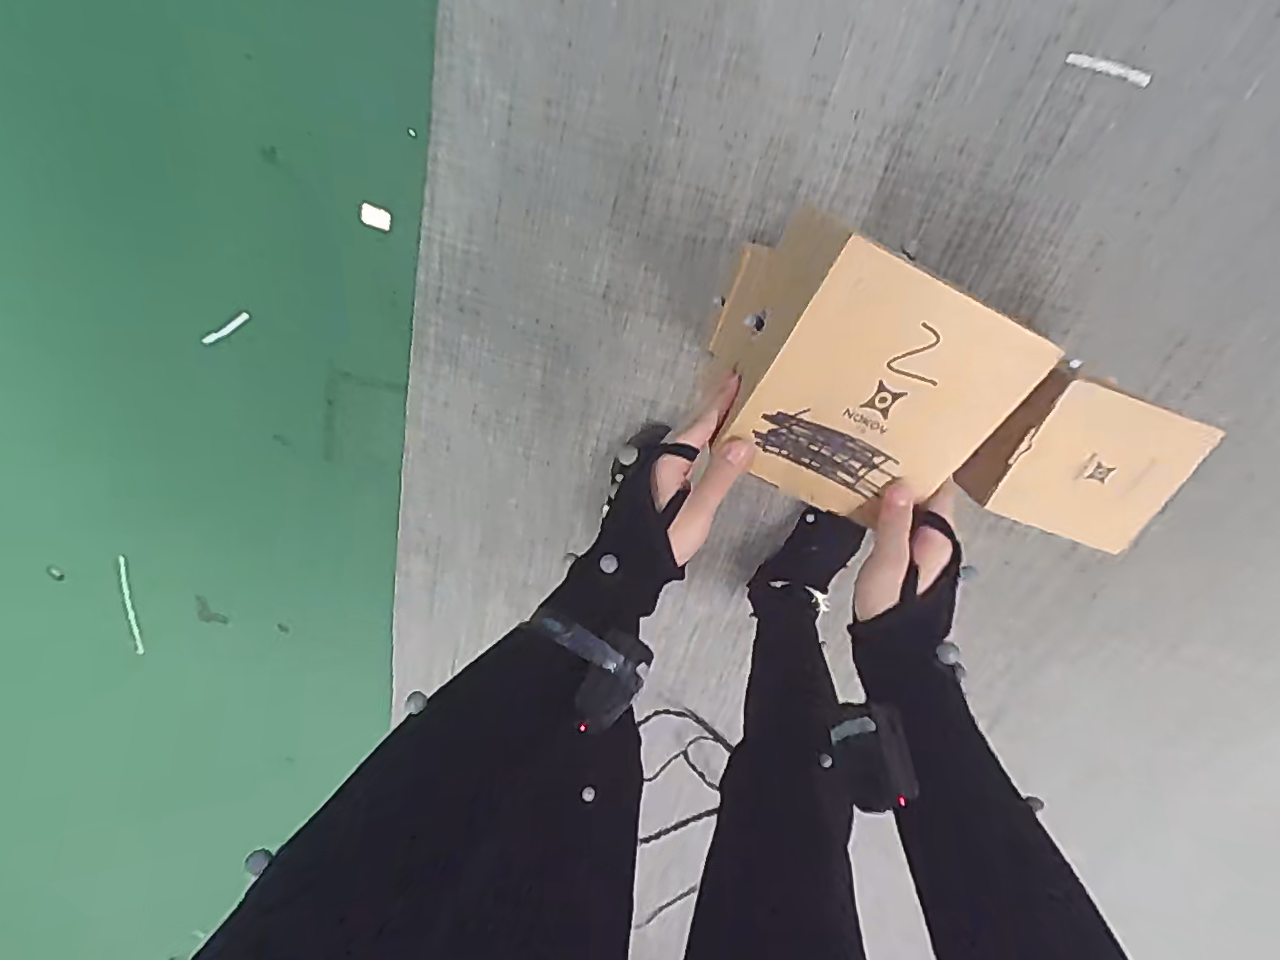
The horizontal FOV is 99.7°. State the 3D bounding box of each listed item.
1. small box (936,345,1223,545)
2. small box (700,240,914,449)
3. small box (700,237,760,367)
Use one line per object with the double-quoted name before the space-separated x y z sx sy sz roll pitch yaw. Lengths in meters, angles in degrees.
"small box" 0.504 -0.053 0.659 0.179 0.176 0.168 19 117 -2
"small box" 0.182 -0.169 0.646 0.168 0.176 0.179 20 116 -3
"small box" 0.198 -0.240 0.794 0.168 0.176 0.179 19 116 -2
